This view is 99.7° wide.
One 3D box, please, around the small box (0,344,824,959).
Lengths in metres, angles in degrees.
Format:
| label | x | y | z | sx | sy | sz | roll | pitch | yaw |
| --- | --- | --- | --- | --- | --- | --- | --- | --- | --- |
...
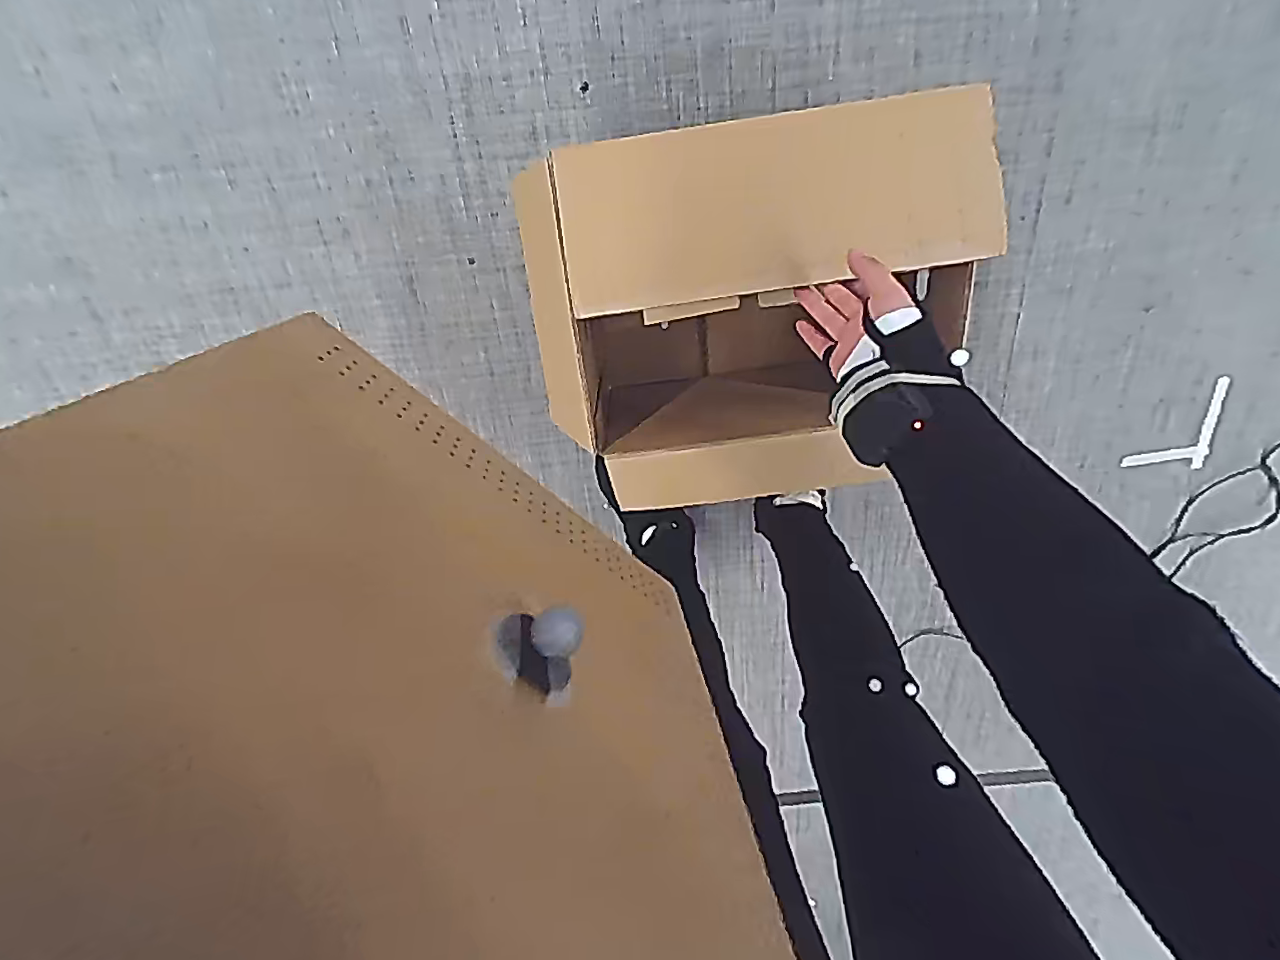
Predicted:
| label | x | y | z | sx | sy | sz | roll | pitch | yaw |
| --- | --- | --- | --- | --- | --- | --- | --- | --- | --- |
| small box | -0.085 | 0.084 | 0.145 | 0.168 | 0.176 | 0.179 | -44 | 115 | 13 |
